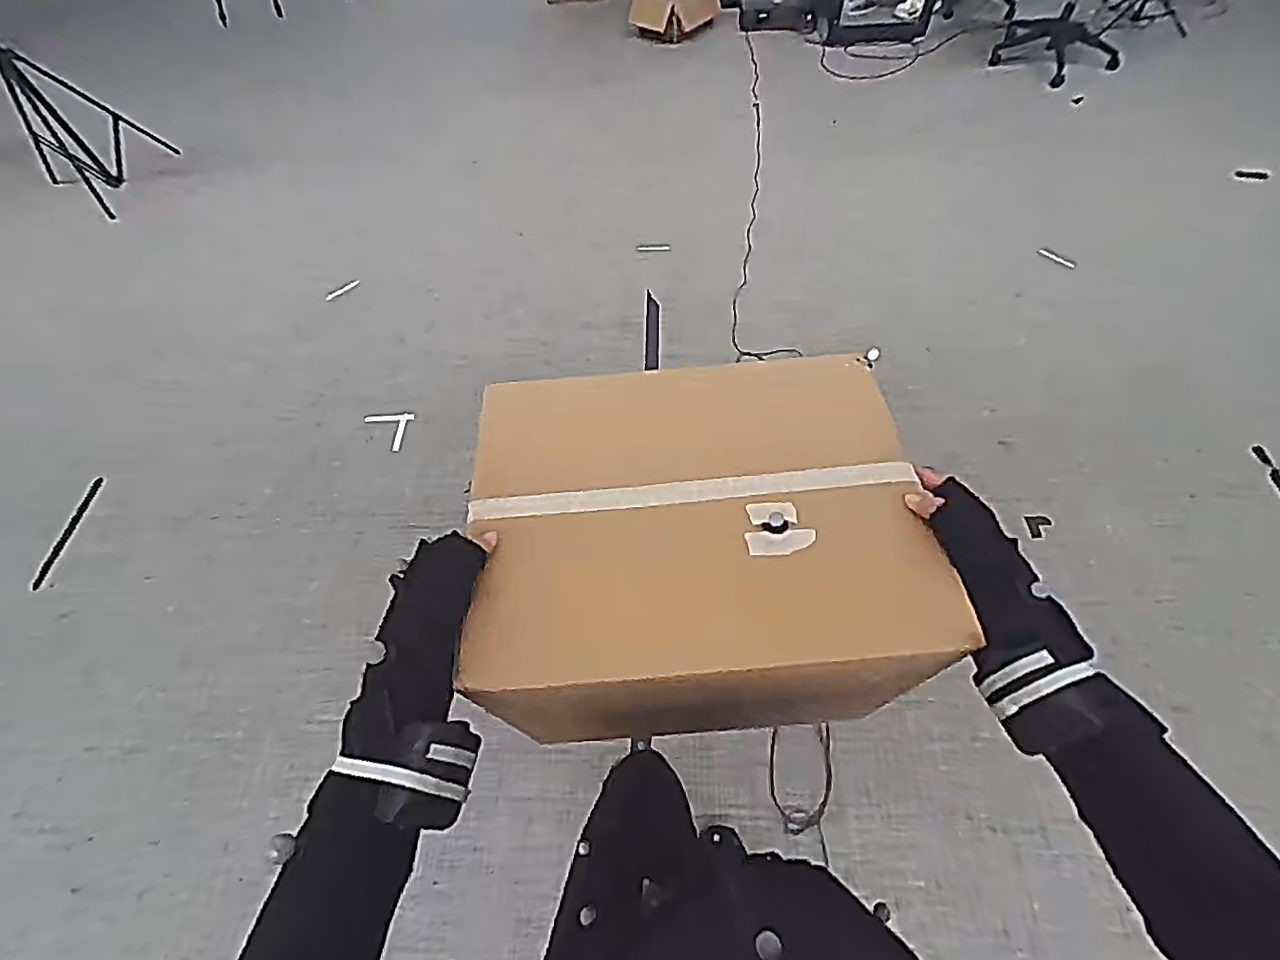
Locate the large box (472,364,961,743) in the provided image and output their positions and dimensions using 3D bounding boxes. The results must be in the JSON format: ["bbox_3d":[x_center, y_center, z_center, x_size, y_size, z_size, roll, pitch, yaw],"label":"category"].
[{"bbox_3d":[0.054,0.099,0.633,0.408,0.320,0.320,-5,57,0],"label":"large box"}]
